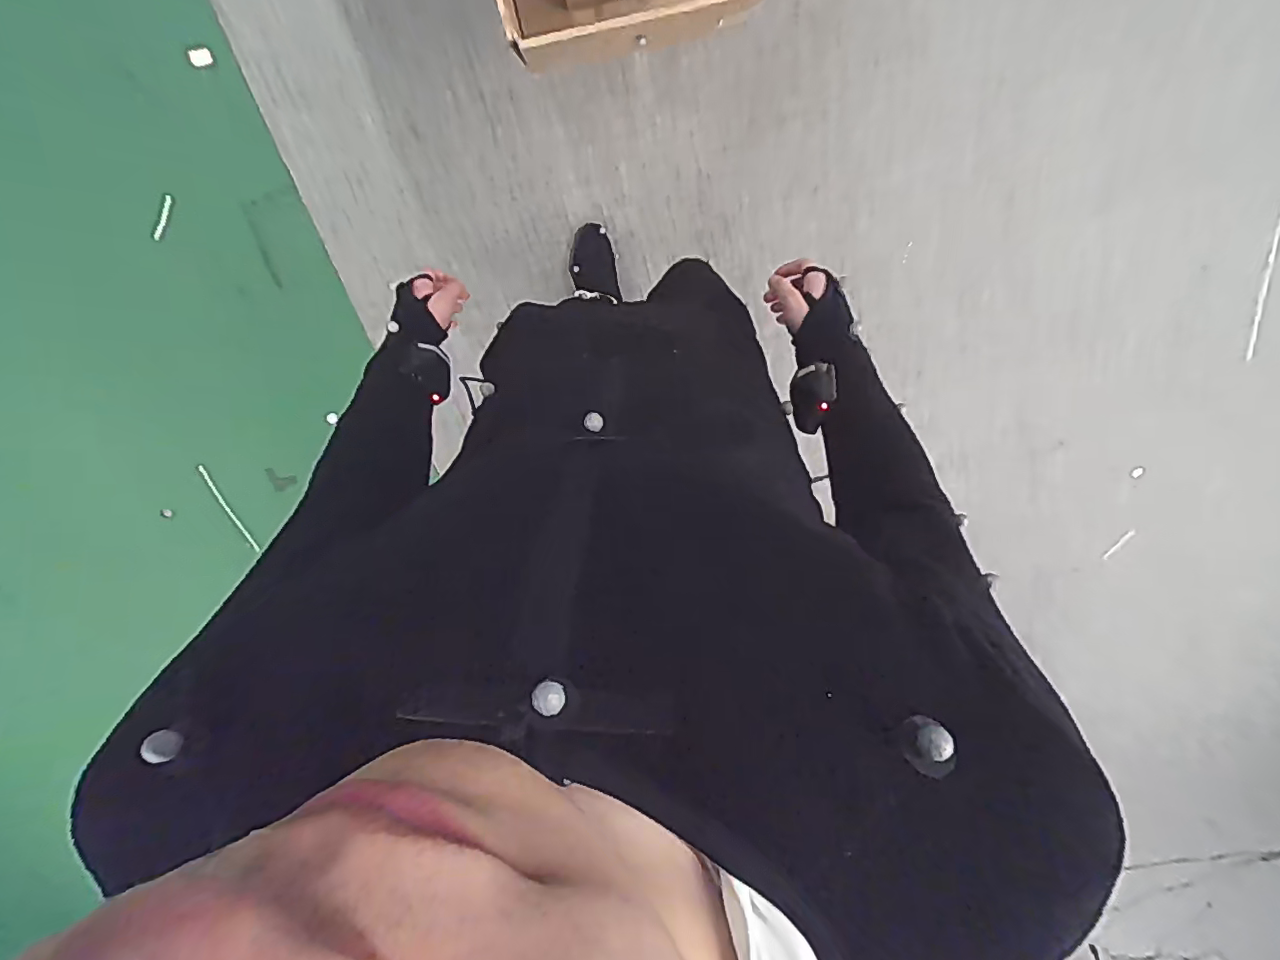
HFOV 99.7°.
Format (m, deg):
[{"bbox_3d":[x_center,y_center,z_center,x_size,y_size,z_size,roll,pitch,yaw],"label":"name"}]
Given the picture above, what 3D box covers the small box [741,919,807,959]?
[{"bbox_3d":[0.398,1.391,1.543,0.168,0.176,0.179,-16,116,5],"label":"small box"}]
